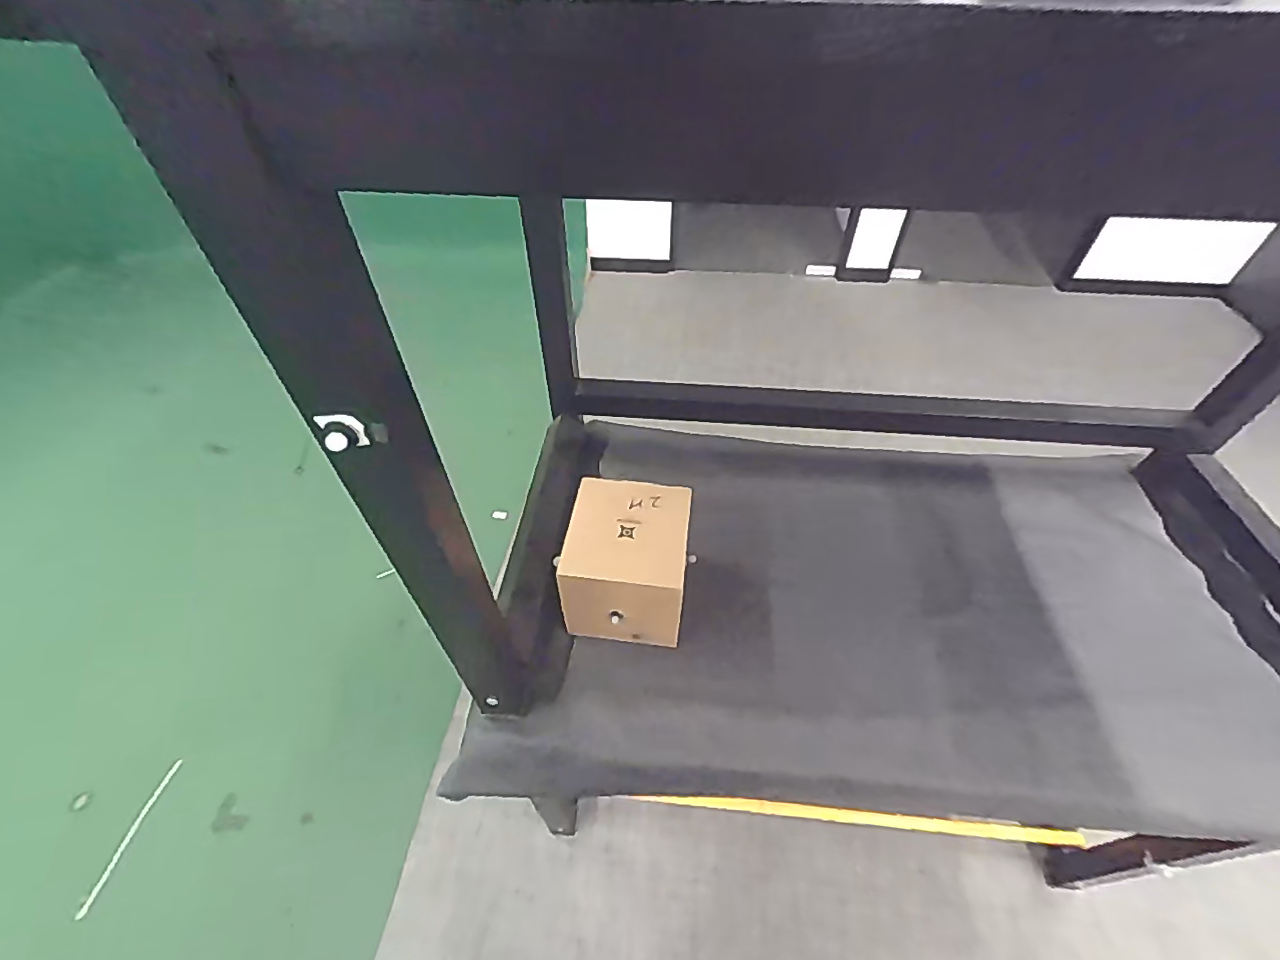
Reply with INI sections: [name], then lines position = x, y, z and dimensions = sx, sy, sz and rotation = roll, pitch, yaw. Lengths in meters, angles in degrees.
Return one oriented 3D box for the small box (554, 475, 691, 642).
[small box]
position = -0.018, 0.118, 0.793
dimensions = 0.168, 0.176, 0.179
rotation = 6, 47, 5
